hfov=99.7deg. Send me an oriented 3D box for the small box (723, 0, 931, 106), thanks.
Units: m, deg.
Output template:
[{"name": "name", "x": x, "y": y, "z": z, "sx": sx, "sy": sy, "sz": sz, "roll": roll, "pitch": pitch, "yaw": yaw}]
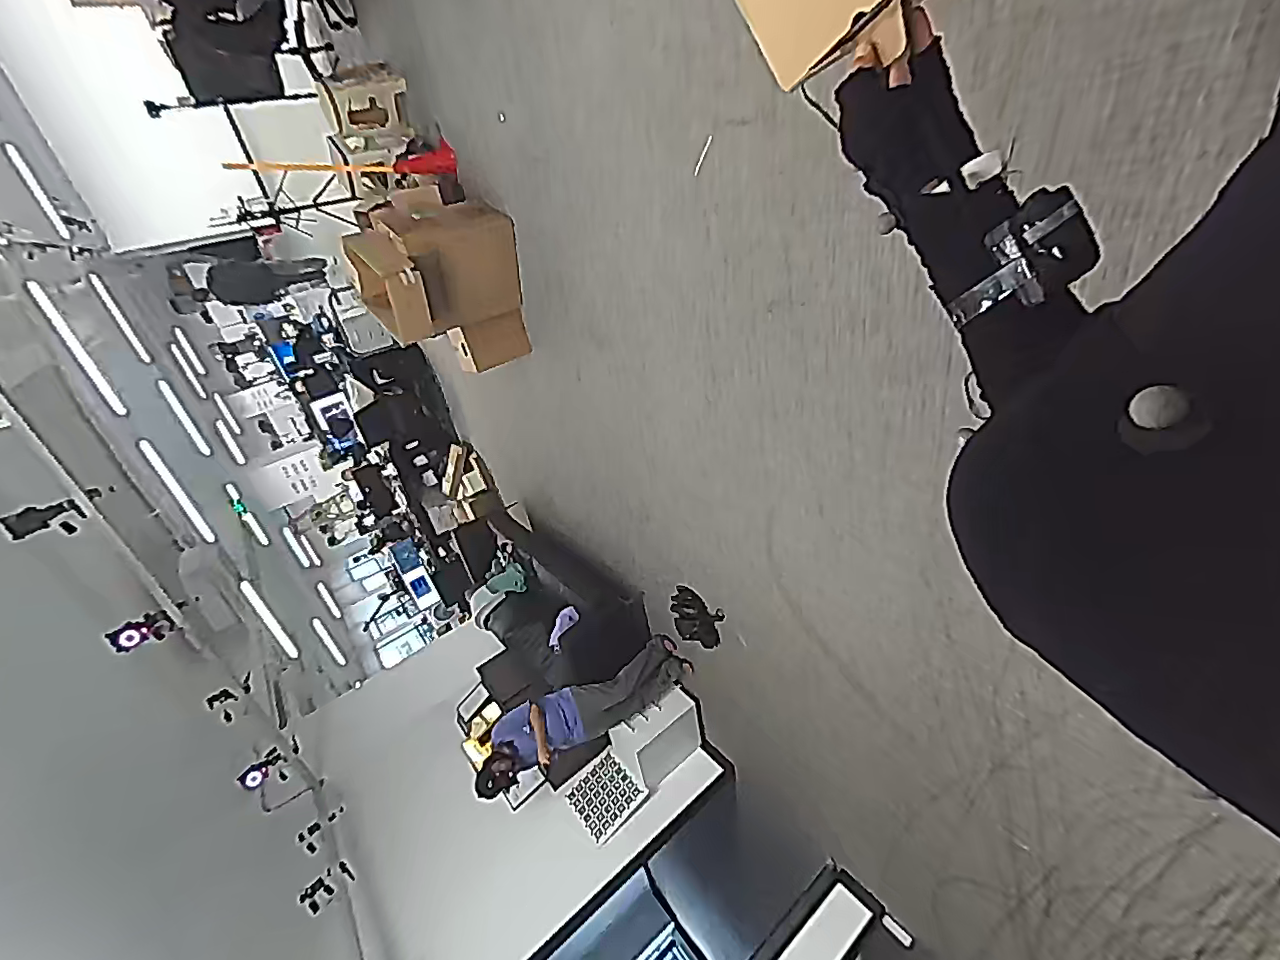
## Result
[{"name": "small box", "x": 0.166, "y": -0.436, "z": 0.396, "sx": 0.179, "sy": 0.176, "sz": 0.168, "roll": 55, "pitch": 159, "yaw": -15}]
